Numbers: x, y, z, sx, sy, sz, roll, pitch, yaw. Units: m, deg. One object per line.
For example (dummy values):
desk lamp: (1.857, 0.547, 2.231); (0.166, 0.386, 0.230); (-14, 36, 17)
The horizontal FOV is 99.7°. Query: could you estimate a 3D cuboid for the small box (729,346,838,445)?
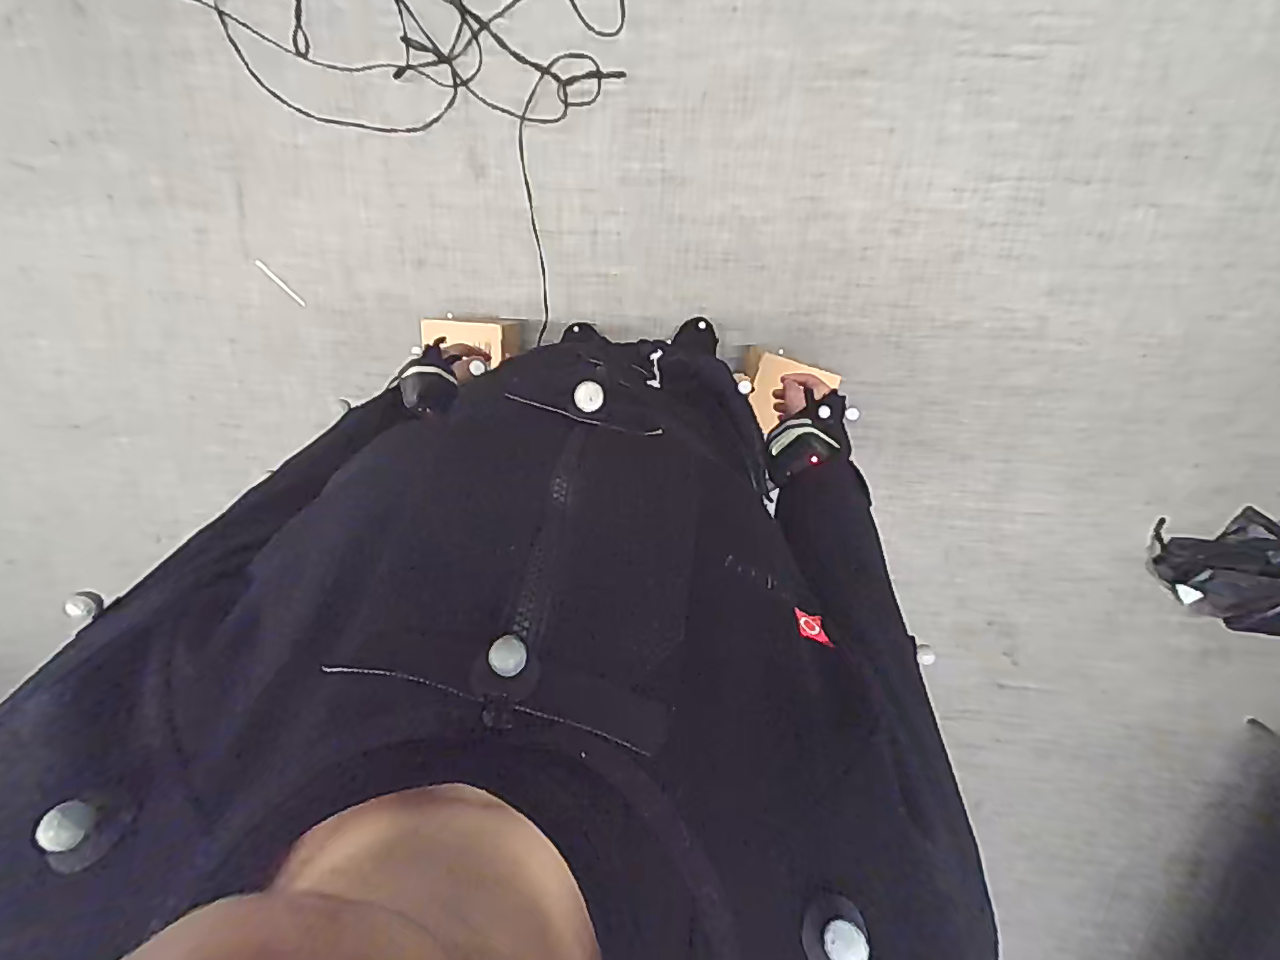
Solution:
small box: (0.316, -0.199, 1.231); (0.179, 0.176, 0.168); (16, 109, -2)
